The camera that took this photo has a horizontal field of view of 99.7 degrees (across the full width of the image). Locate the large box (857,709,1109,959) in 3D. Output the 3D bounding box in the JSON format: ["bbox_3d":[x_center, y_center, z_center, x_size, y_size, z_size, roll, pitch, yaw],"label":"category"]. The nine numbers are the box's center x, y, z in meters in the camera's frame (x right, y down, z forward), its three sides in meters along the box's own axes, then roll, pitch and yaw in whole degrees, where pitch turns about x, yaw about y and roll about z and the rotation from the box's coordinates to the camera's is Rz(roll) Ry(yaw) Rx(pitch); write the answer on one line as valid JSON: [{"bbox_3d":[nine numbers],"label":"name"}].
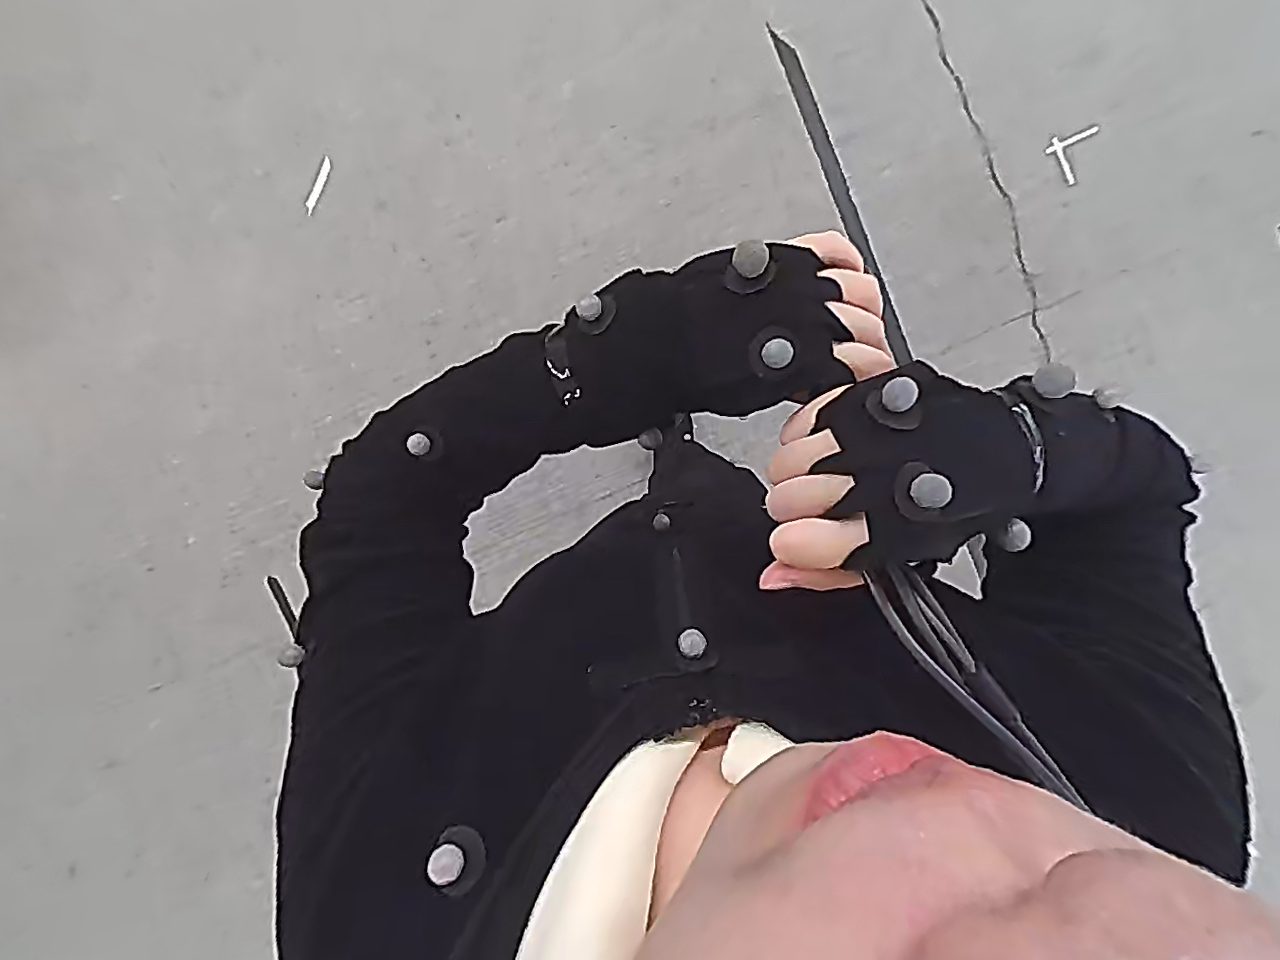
[{"bbox_3d":[0.720,0.783,1.192,0.320,0.320,0.408,11,92,0],"label":"large box"}]
